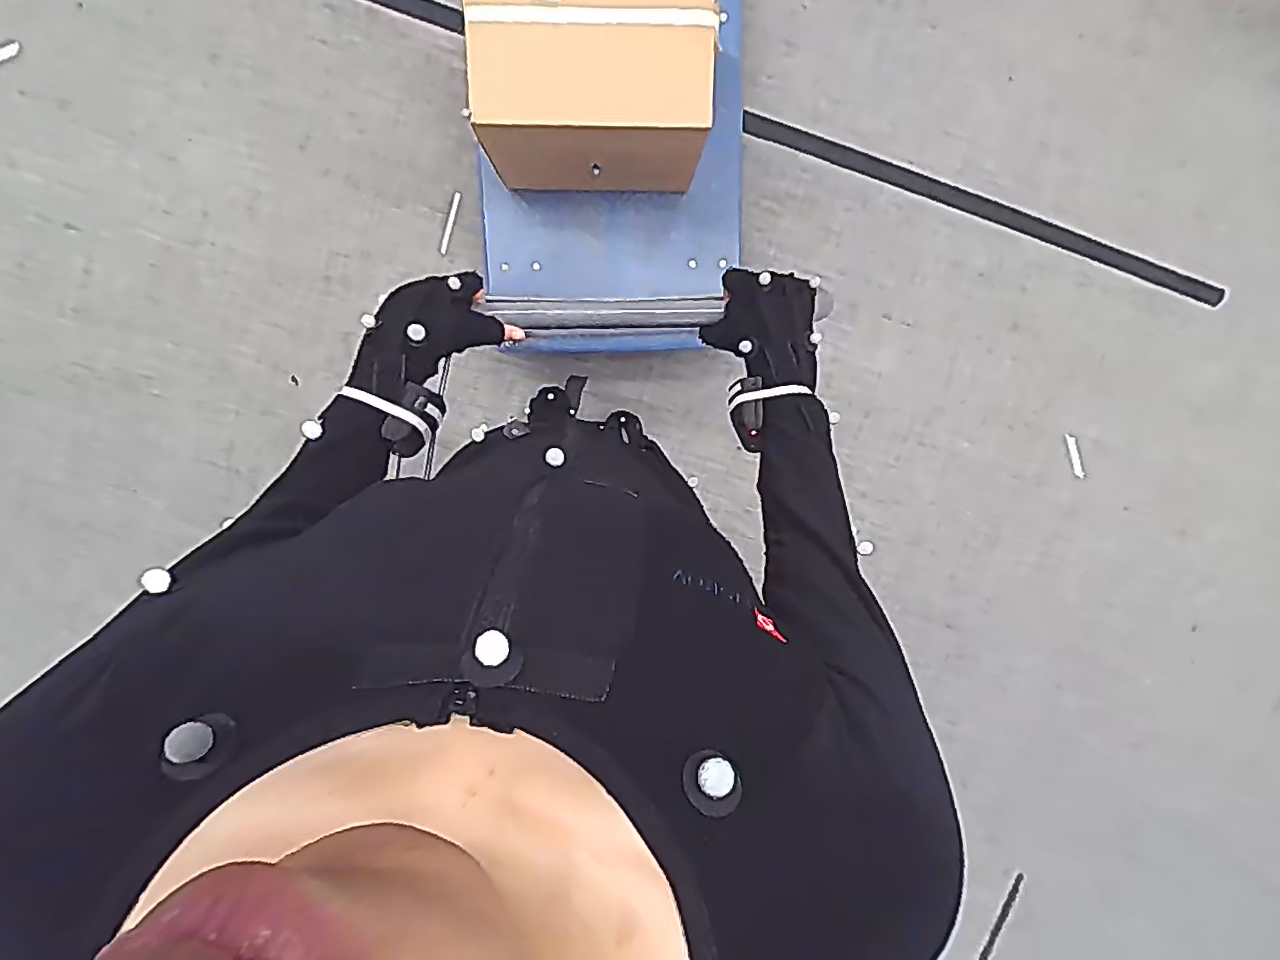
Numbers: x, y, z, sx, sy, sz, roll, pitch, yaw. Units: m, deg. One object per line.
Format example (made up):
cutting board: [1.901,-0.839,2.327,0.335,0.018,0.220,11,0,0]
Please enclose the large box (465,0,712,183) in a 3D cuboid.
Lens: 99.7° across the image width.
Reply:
large box: [-0.085,-0.774,1.018,0.408,0.320,0.320,-1,100,-2]
